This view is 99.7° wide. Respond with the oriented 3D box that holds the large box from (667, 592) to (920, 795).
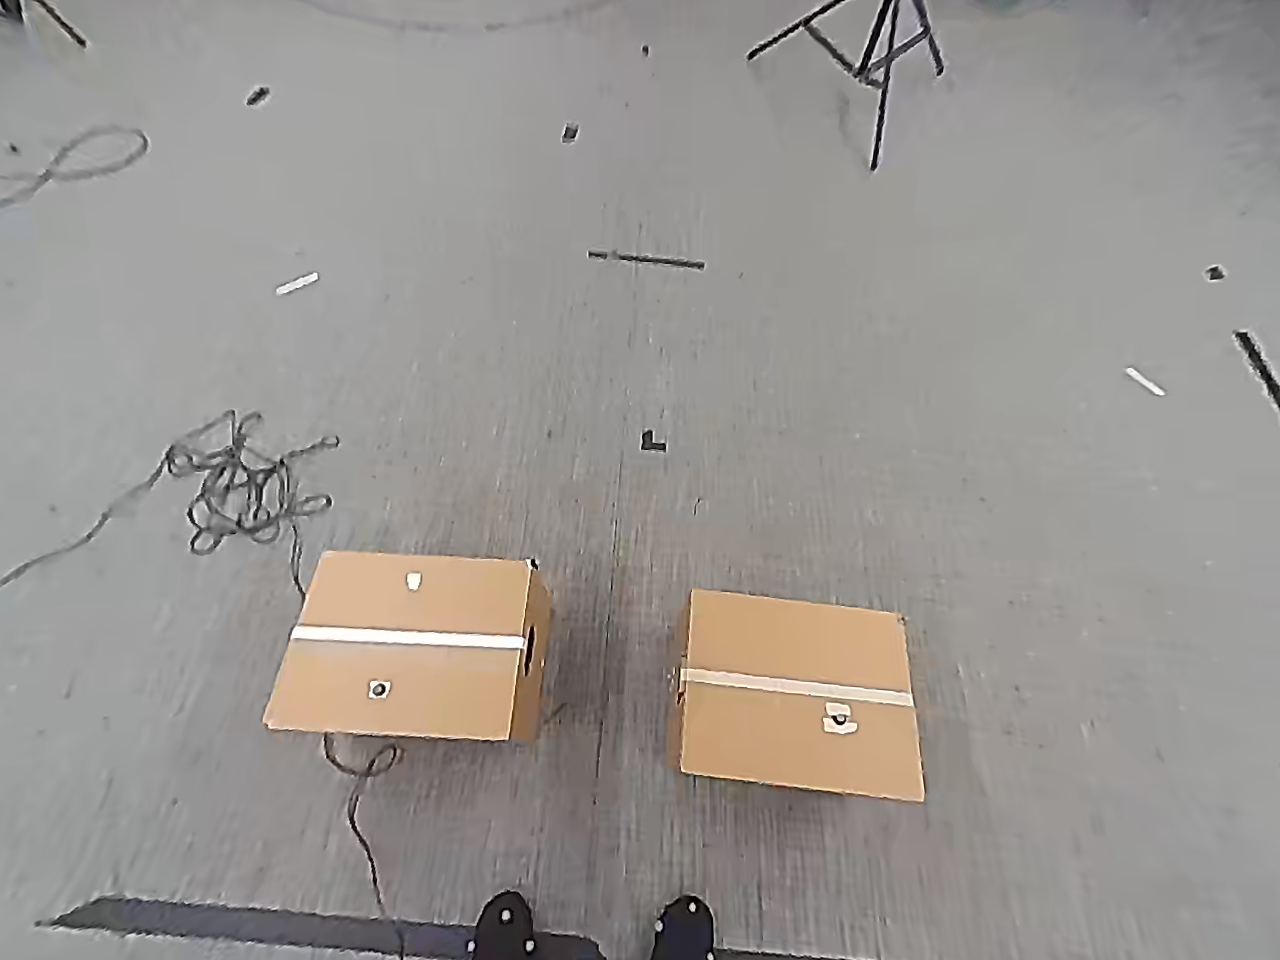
[{"bbox_3d":[0.274,0.441,1.098,0.408,0.320,0.320,7,62,0],"label":"large box"}]
